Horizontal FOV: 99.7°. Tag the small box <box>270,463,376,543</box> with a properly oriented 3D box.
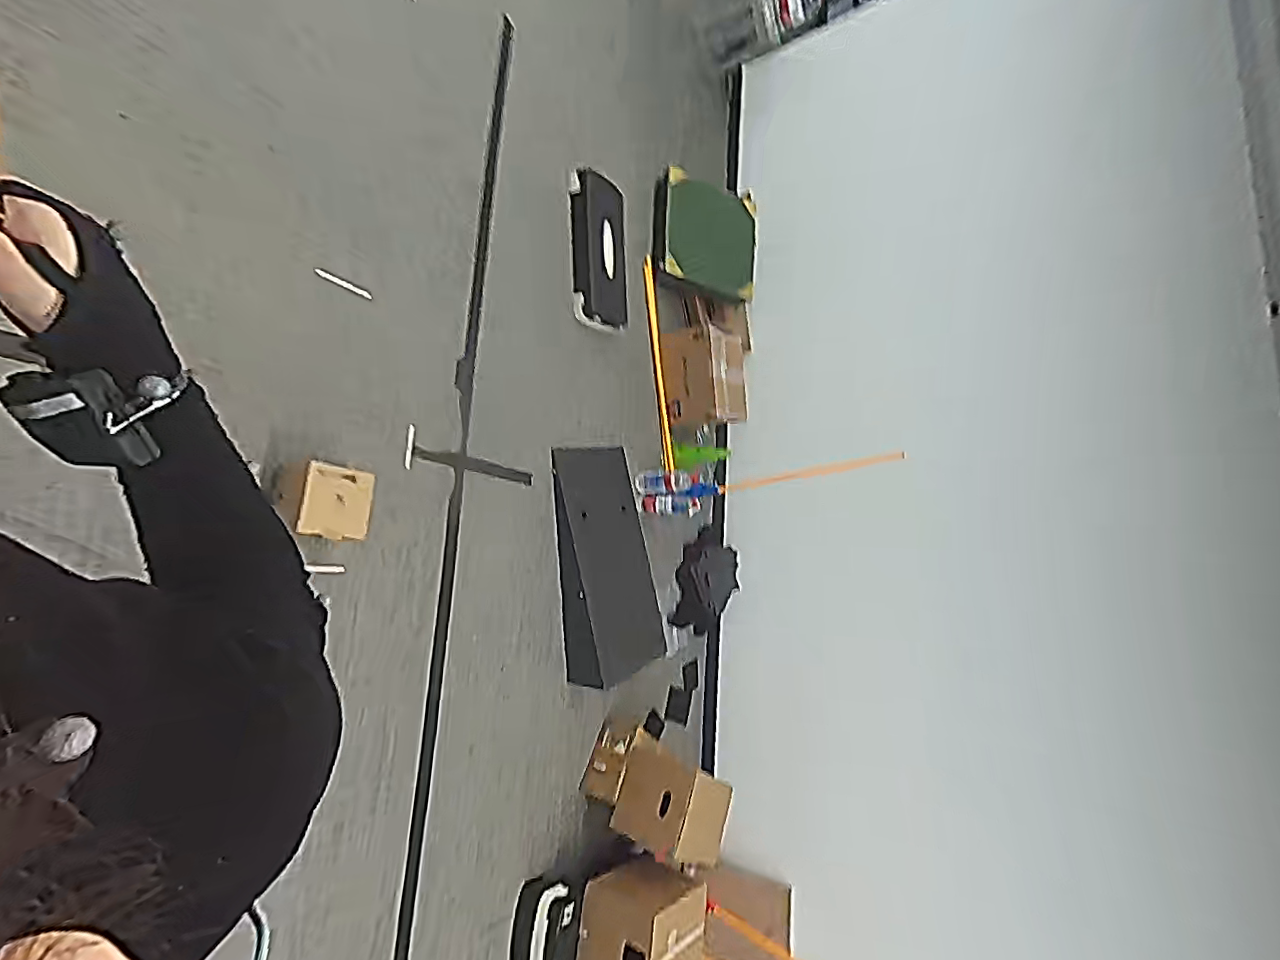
[{"bbox_3d":[-0.815,0.062,1.389,0.168,0.176,0.179,21,72,-54],"label":"small box"}]
